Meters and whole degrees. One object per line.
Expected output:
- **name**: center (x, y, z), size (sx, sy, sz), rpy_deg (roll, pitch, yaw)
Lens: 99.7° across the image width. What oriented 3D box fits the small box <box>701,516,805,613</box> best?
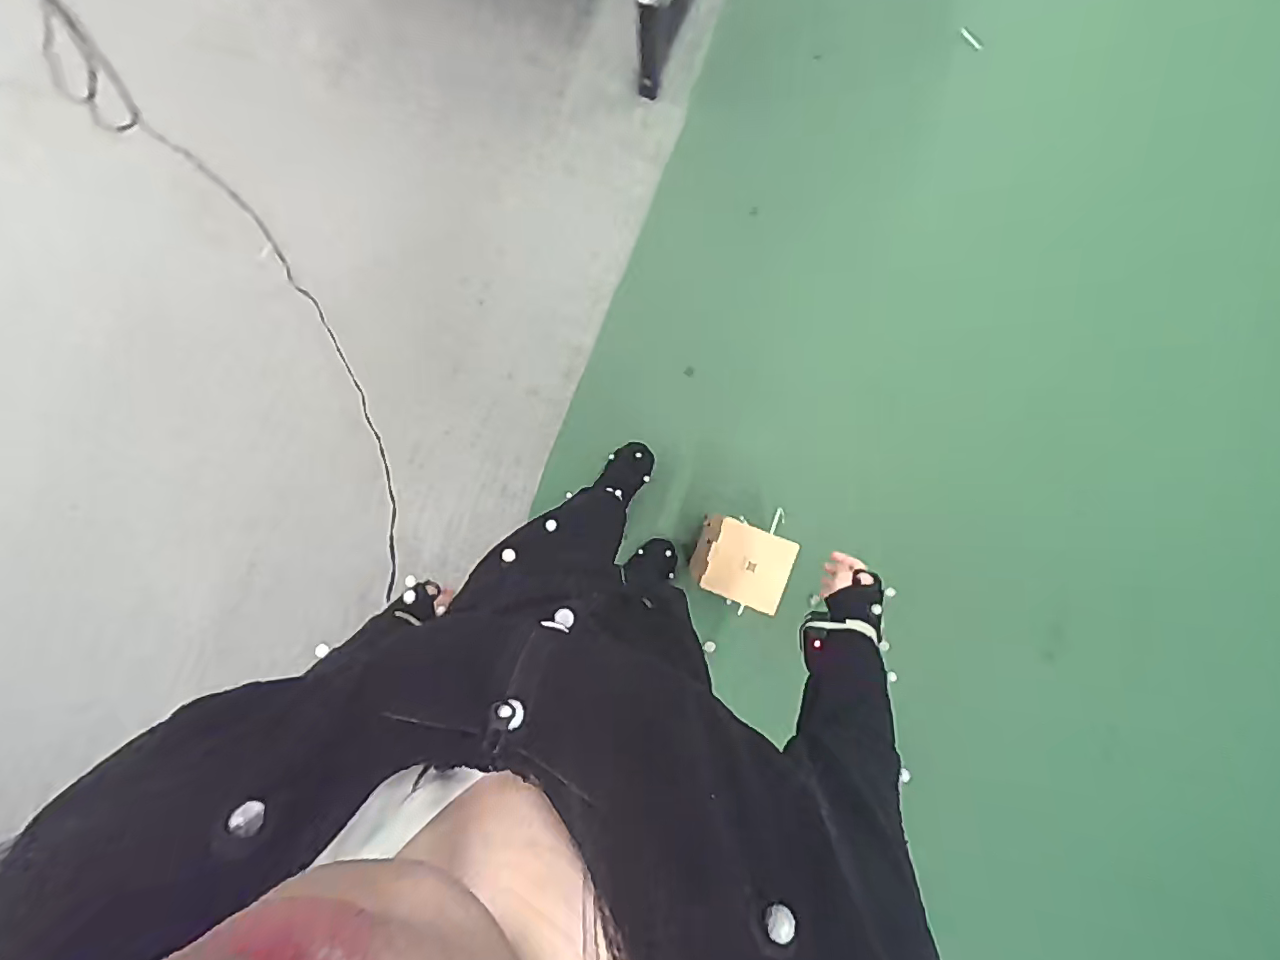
- **small box**: center (0.253, 0.185, 1.254), size (0.179, 0.176, 0.168), rpy_deg (21, 89, 3)
